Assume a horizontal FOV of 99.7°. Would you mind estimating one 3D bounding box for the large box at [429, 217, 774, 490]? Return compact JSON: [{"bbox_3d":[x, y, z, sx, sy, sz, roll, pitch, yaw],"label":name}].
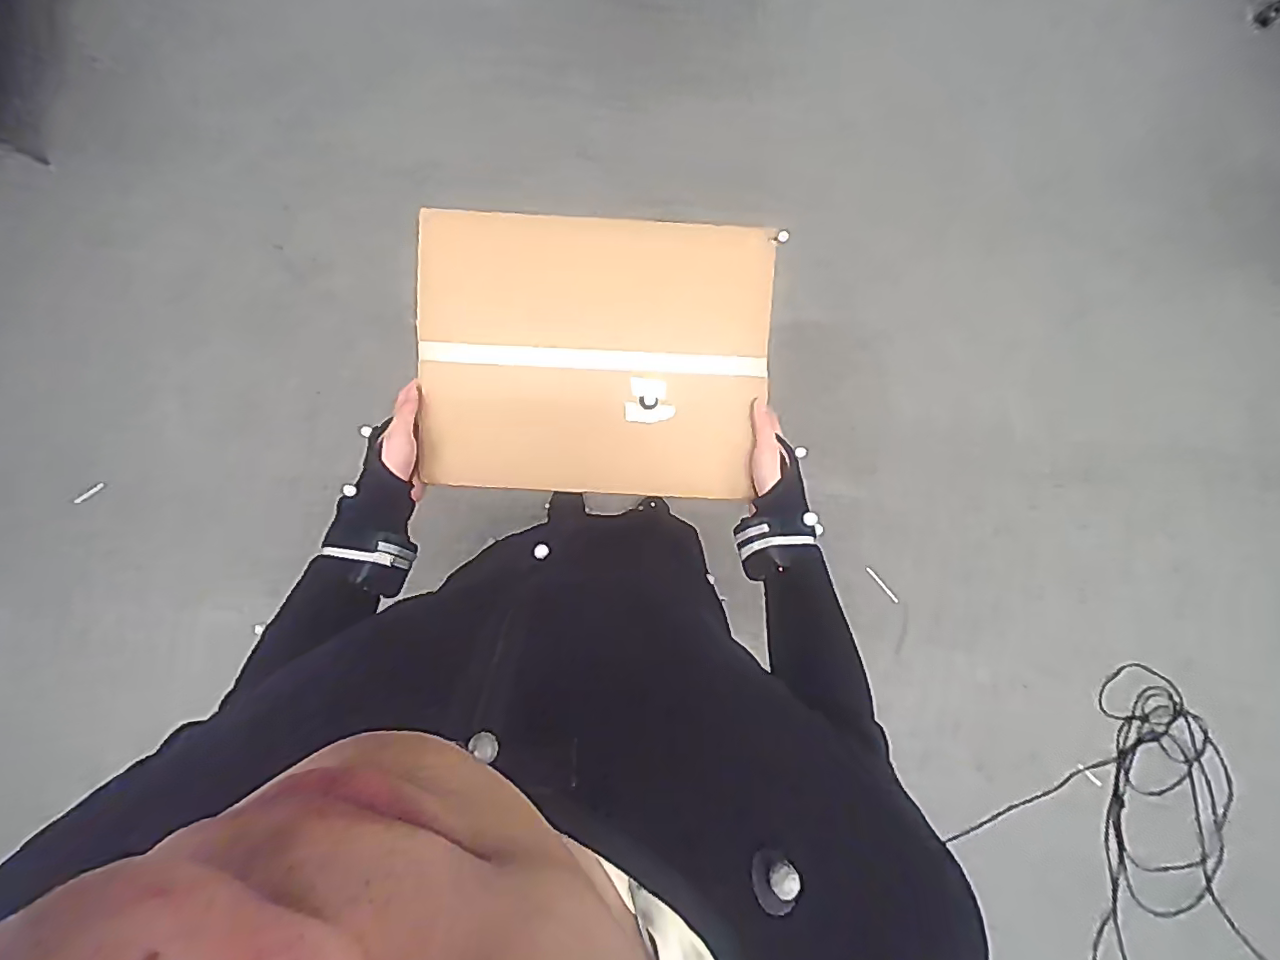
[{"bbox_3d":[-0.052,-0.159,0.783,0.408,0.320,0.320,2,97,-2],"label":"large box"}]
